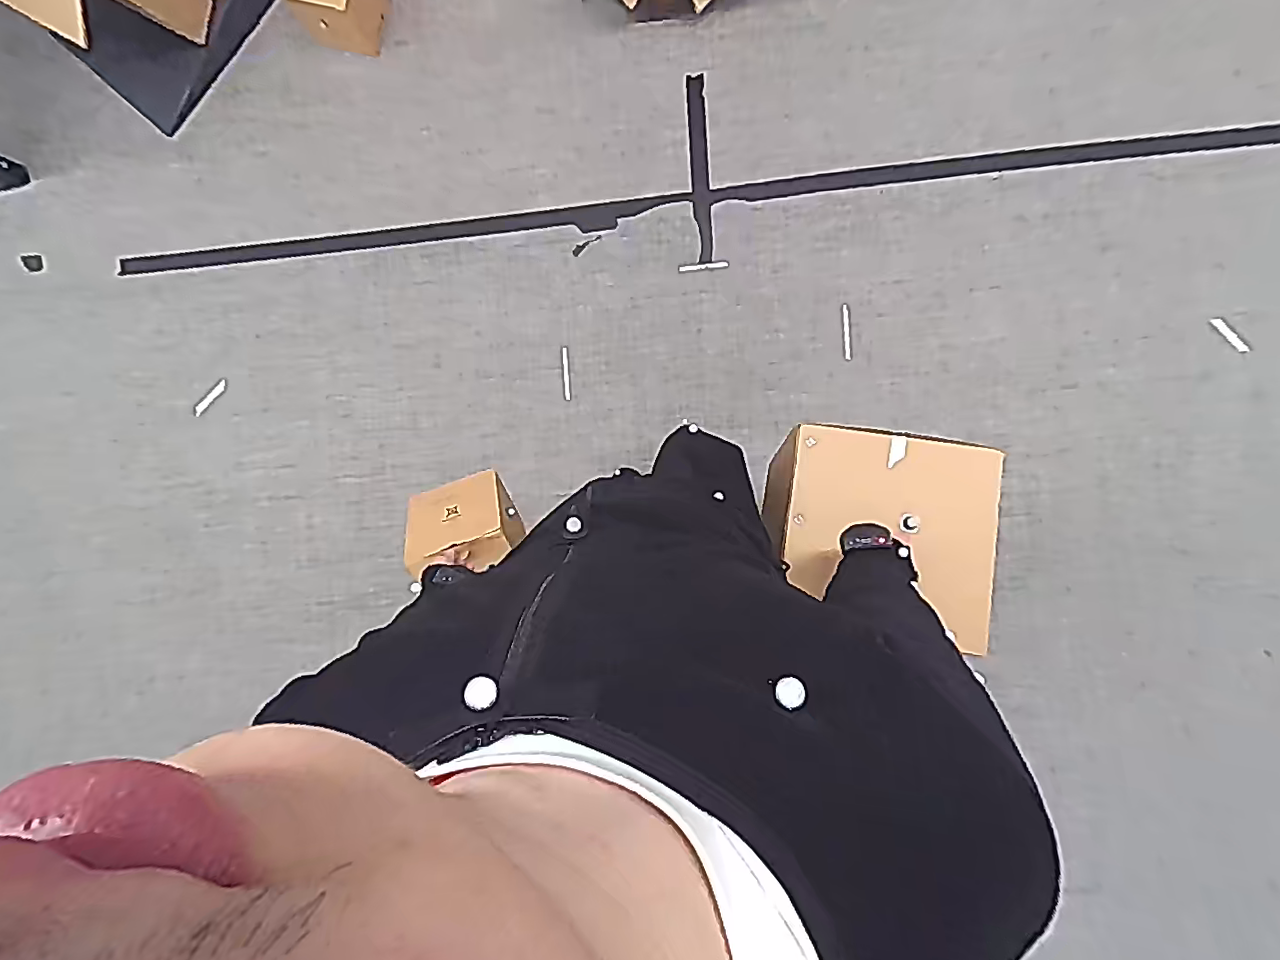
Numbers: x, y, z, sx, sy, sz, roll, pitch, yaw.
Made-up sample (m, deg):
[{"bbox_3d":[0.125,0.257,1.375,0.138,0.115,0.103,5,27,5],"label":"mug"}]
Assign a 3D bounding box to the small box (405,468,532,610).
[{"bbox_3d":[-0.306,0.114,0.988,0.168,0.179,0.176,-19,131,-4],"label":"small box"}]
